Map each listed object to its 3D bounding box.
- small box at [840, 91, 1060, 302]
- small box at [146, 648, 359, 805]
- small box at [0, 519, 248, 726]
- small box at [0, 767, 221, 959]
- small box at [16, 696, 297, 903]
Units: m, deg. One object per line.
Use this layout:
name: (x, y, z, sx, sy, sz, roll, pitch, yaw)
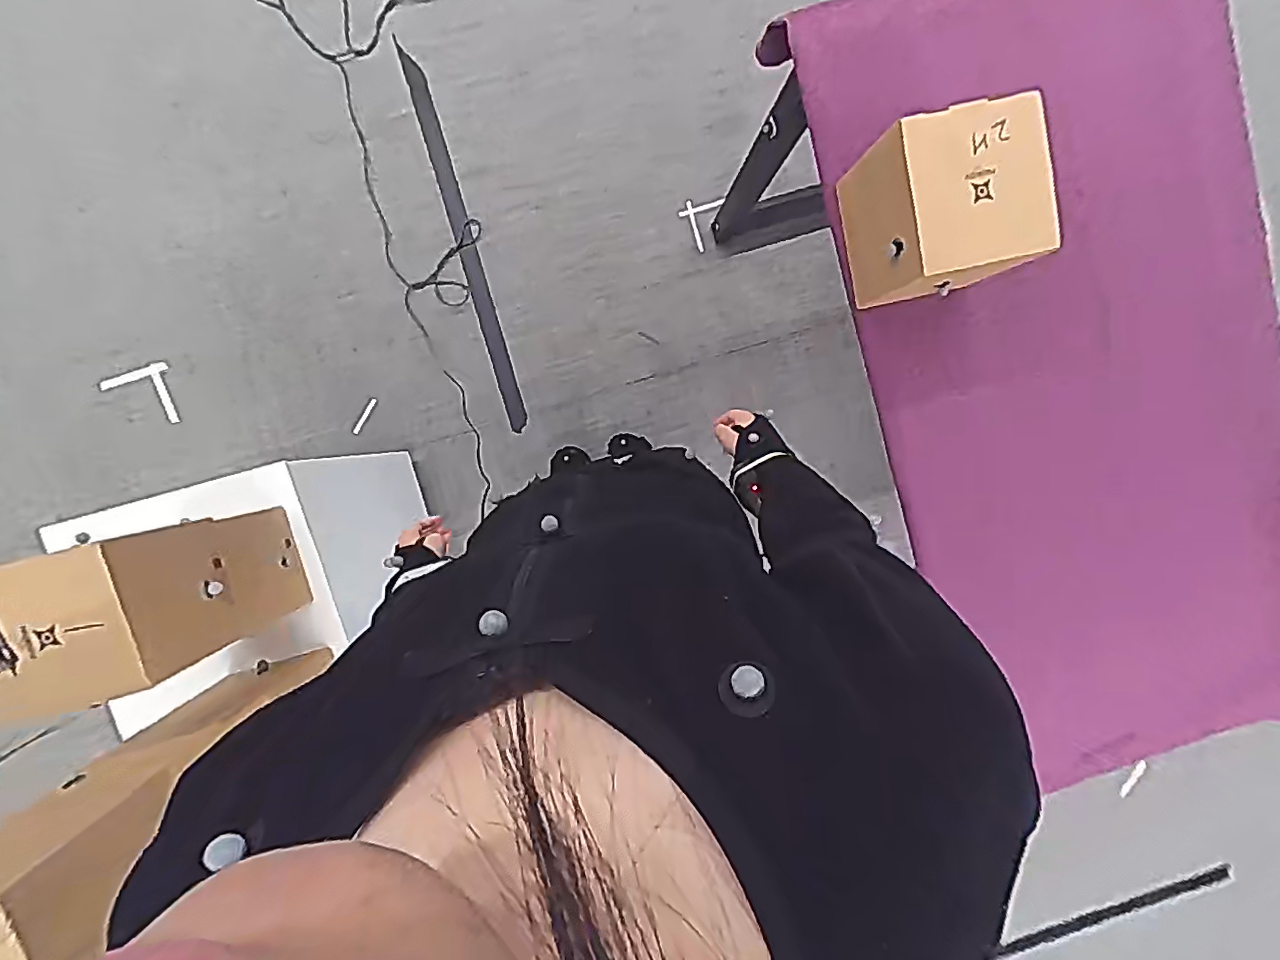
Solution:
small box: (0.374, -0.335, 0.680, 0.168, 0.176, 0.179, -13, 95, -3)
small box: (-0.567, 0.379, 0.817, 0.179, 0.176, 0.168, -15, 96, -1)
small box: (-0.615, 0.152, 0.629, 0.179, 0.176, 0.168, -14, 96, -4)
small box: (-0.548, 0.405, 0.493, 0.179, 0.176, 0.168, -17, 97, -2)
small box: (-0.556, 0.392, 0.655, 0.179, 0.176, 0.168, -17, 96, -2)
